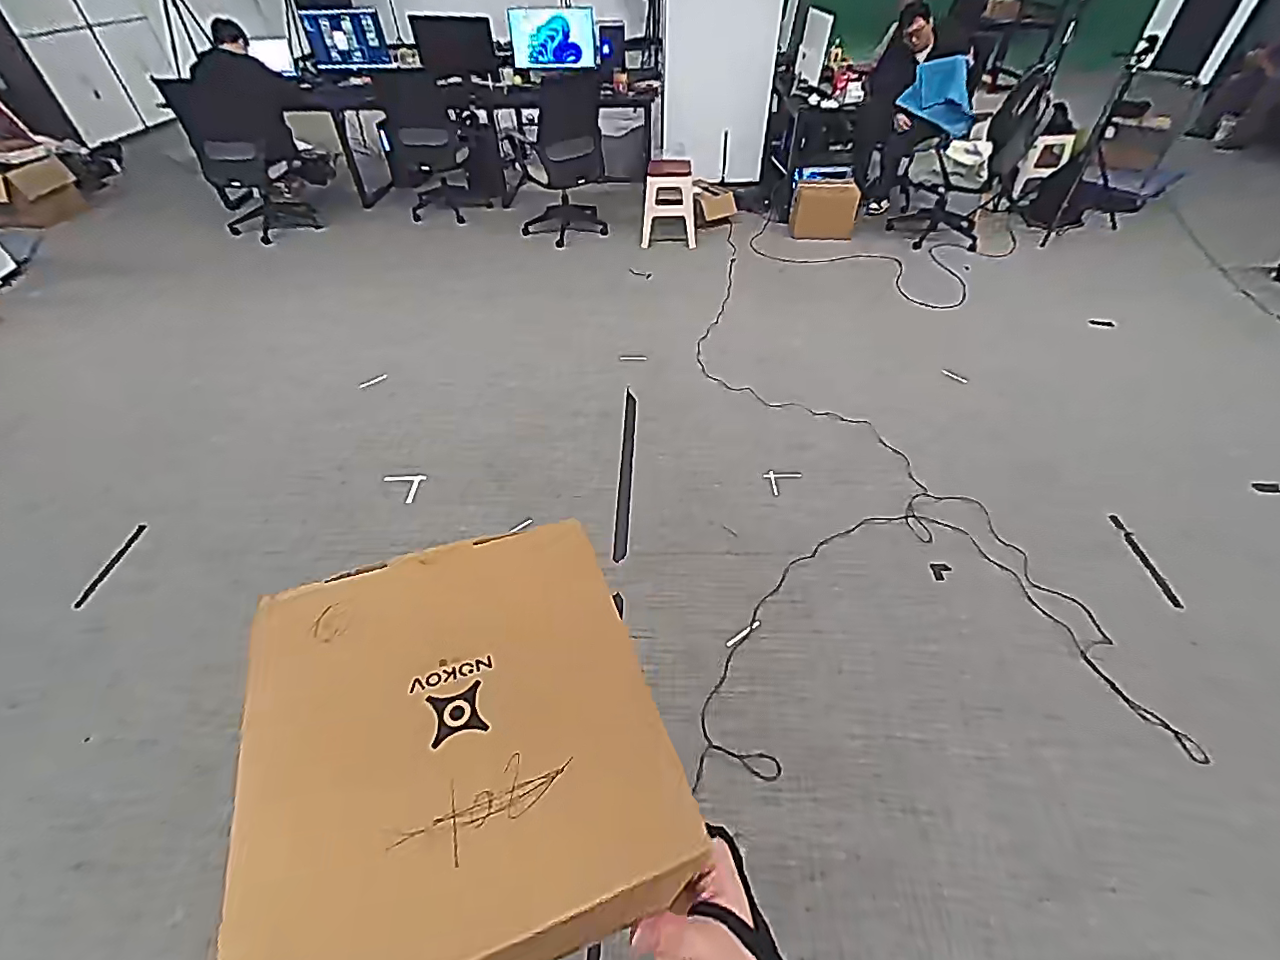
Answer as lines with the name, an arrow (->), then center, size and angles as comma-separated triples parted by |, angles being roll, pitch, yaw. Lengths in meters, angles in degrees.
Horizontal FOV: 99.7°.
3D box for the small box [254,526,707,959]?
small box -> -0.085, 0.160, 0.304 | 0.168, 0.176, 0.179 | -15, 50, -18
